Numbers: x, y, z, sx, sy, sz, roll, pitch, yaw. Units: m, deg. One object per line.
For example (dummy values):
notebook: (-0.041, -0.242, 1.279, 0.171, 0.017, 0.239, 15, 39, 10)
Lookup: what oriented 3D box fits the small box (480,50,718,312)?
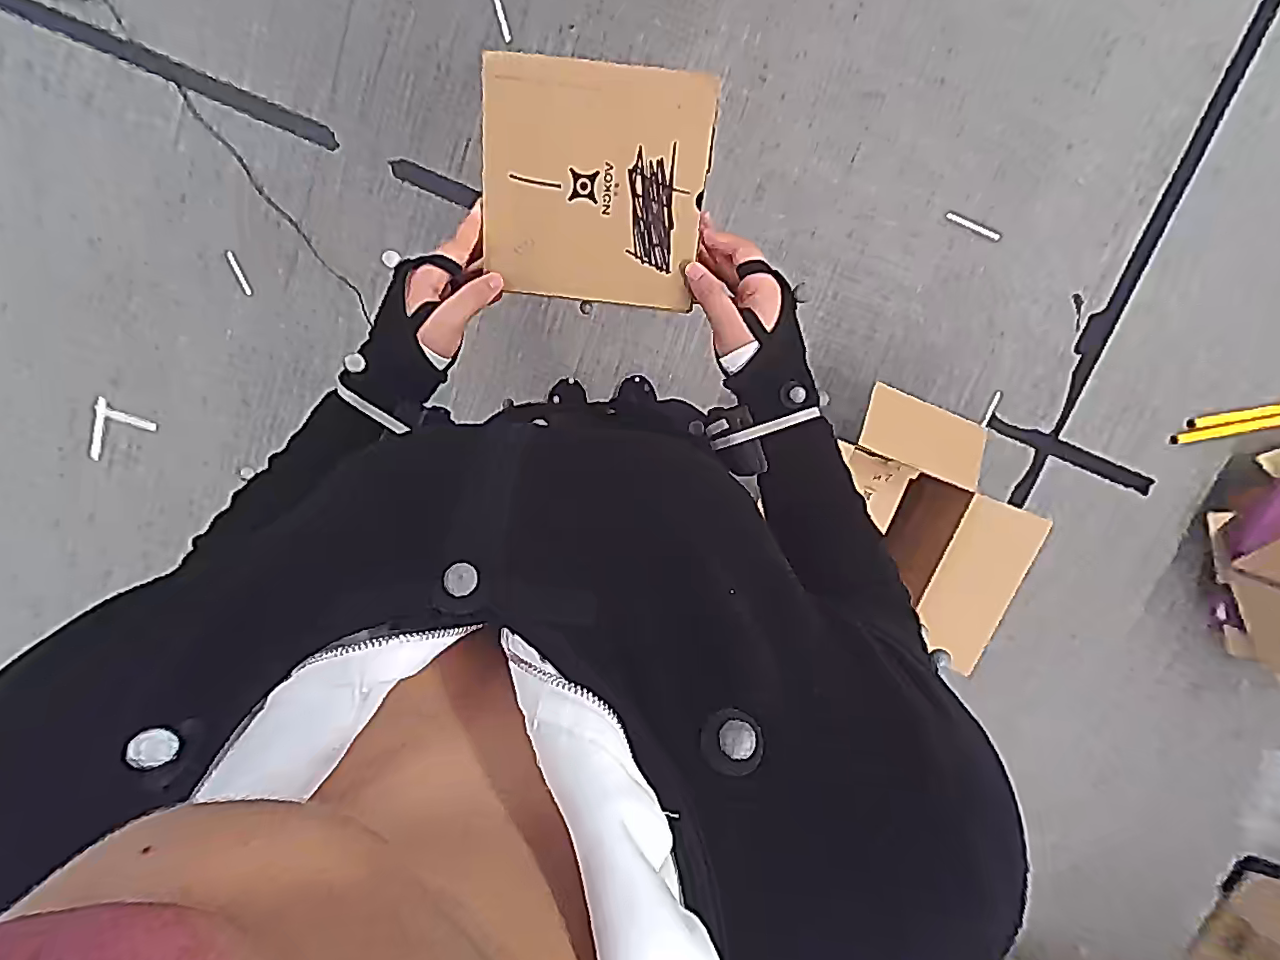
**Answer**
small box: (-0.036, -0.254, 0.495, 0.179, 0.176, 0.168, 7, 111, -1)
